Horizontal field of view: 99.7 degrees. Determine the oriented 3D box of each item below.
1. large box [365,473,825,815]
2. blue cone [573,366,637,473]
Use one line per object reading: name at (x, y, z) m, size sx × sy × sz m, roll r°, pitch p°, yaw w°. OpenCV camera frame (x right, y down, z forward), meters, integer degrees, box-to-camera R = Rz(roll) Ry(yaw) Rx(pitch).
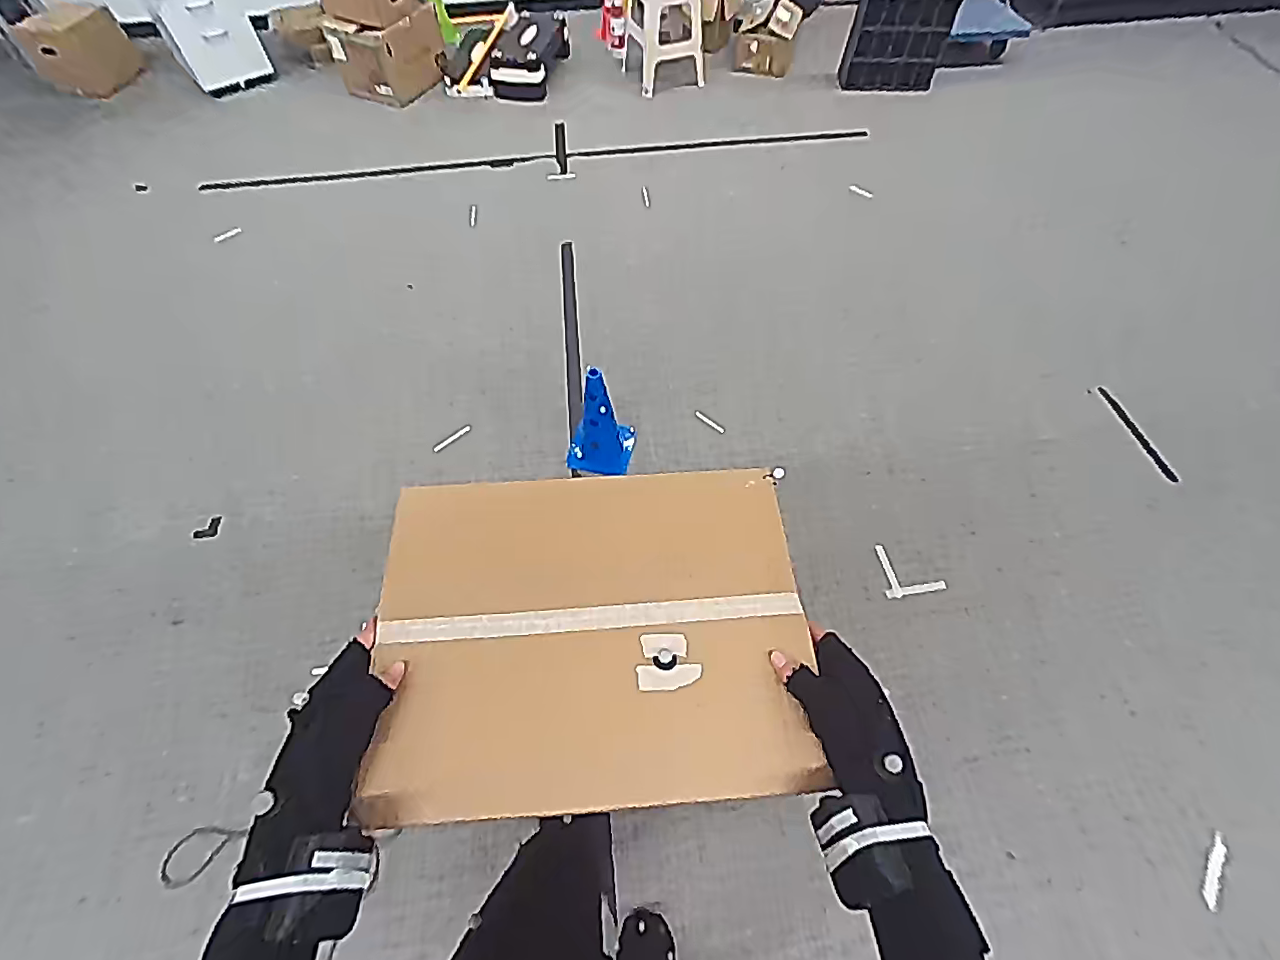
large box at (-0.048, 0.210, 0.663) m, size 0.408 × 0.320 × 0.320 m, roll -3°, pitch 60°, yaw -2°
blue cone at (-0.117, -0.196, 1.651) m, size 0.193 × 0.380 × 0.192 m, roll 12°, pitch 58°, yaw 8°
